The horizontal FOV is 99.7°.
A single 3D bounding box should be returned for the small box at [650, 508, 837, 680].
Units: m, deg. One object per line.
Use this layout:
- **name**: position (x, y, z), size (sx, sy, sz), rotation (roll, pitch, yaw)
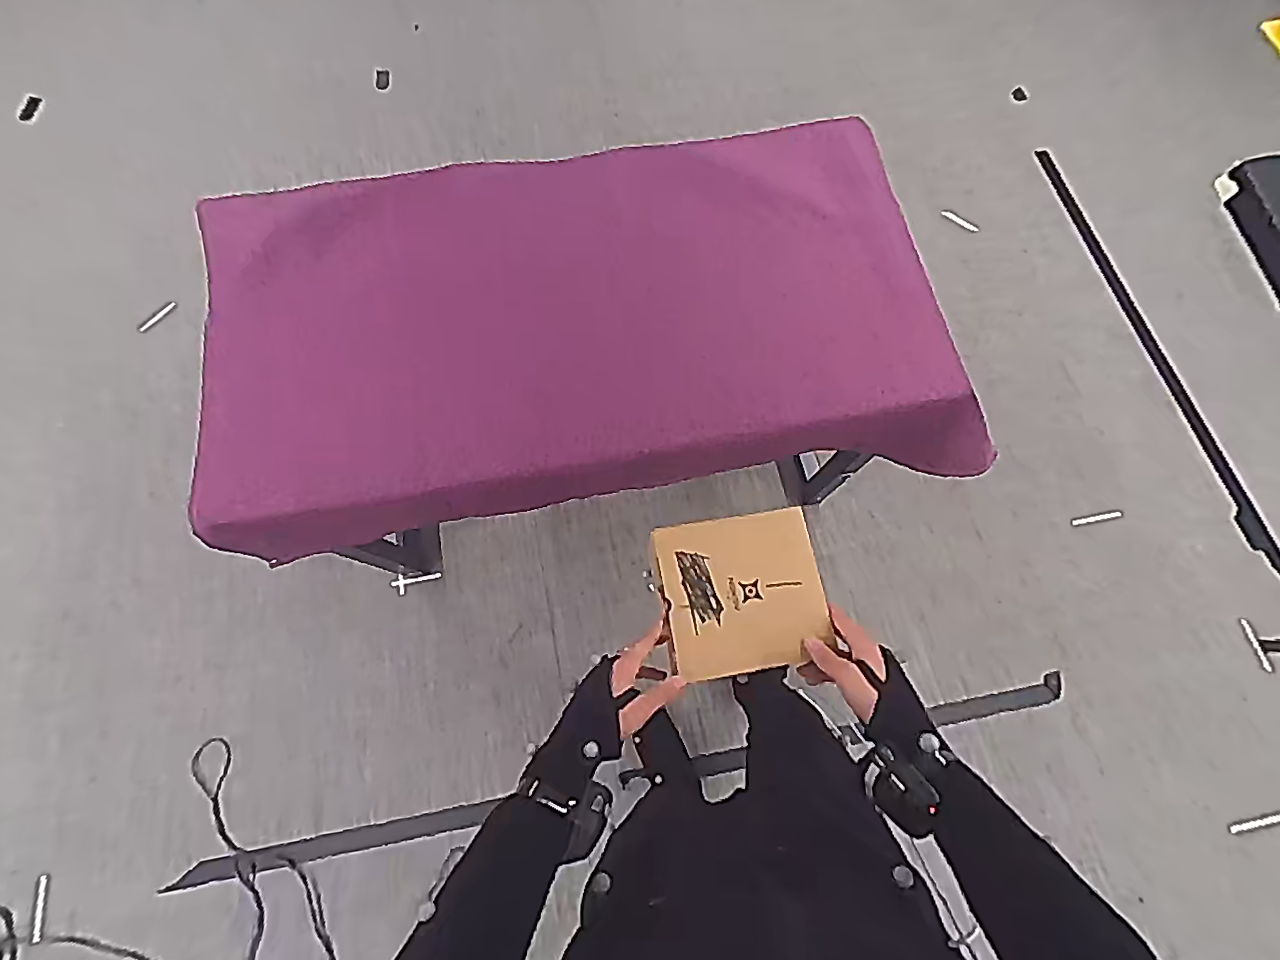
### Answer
- **small box**: position (0.109, 0.143, 0.660), size (0.179, 0.176, 0.168), rotation (-9, 74, -4)
